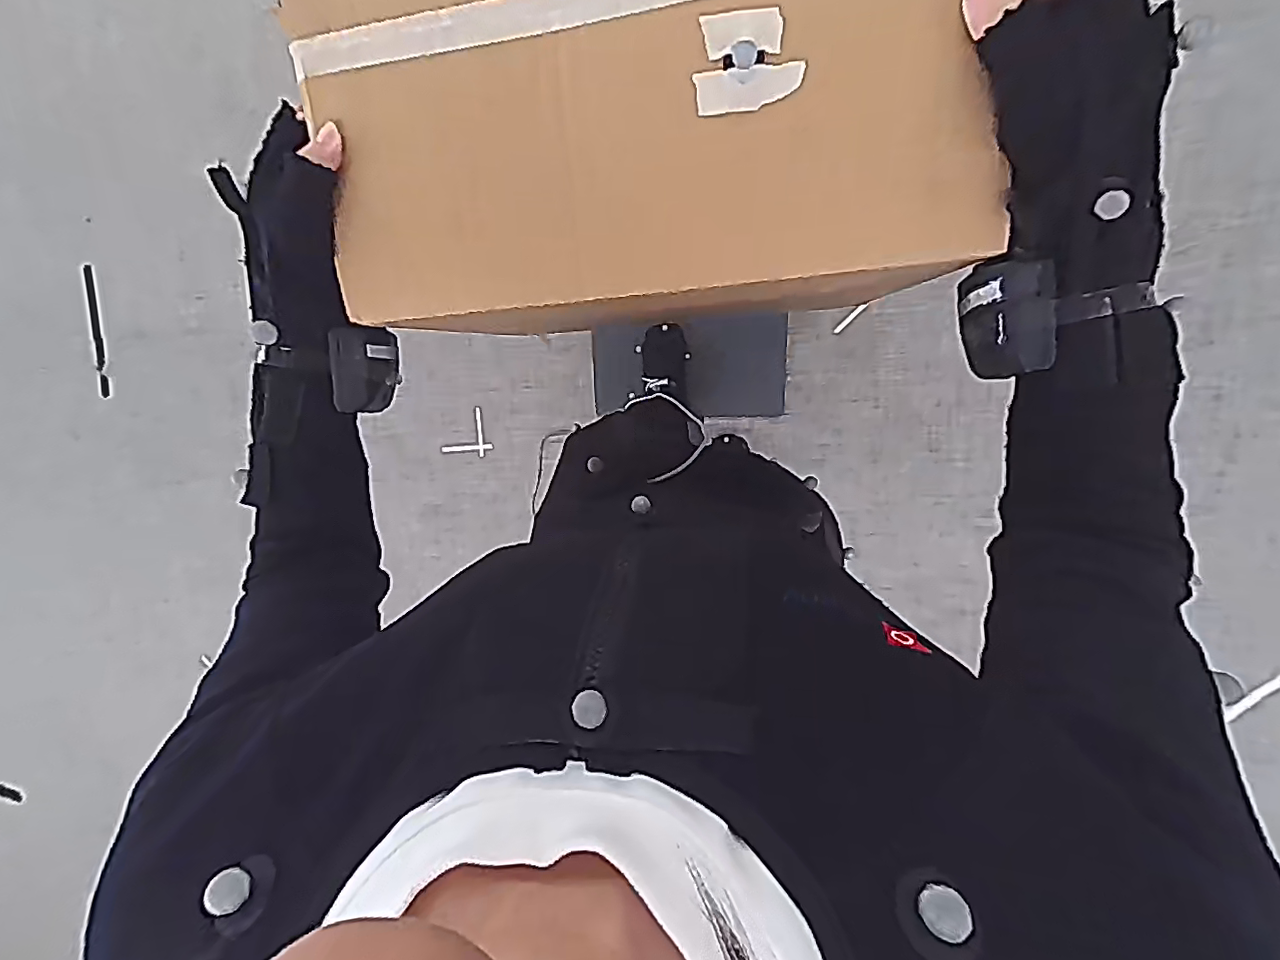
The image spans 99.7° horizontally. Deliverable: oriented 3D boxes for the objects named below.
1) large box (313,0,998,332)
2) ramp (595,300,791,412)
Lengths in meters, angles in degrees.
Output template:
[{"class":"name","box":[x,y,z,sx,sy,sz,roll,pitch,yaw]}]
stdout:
[{"class":"large box","box":[0.013,-0.310,0.456,0.408,0.320,0.320,-3,103,9]},{"class":"ramp","box":[0.115,-0.653,1.262,0.509,0.206,0.991,-1,99,9]}]
